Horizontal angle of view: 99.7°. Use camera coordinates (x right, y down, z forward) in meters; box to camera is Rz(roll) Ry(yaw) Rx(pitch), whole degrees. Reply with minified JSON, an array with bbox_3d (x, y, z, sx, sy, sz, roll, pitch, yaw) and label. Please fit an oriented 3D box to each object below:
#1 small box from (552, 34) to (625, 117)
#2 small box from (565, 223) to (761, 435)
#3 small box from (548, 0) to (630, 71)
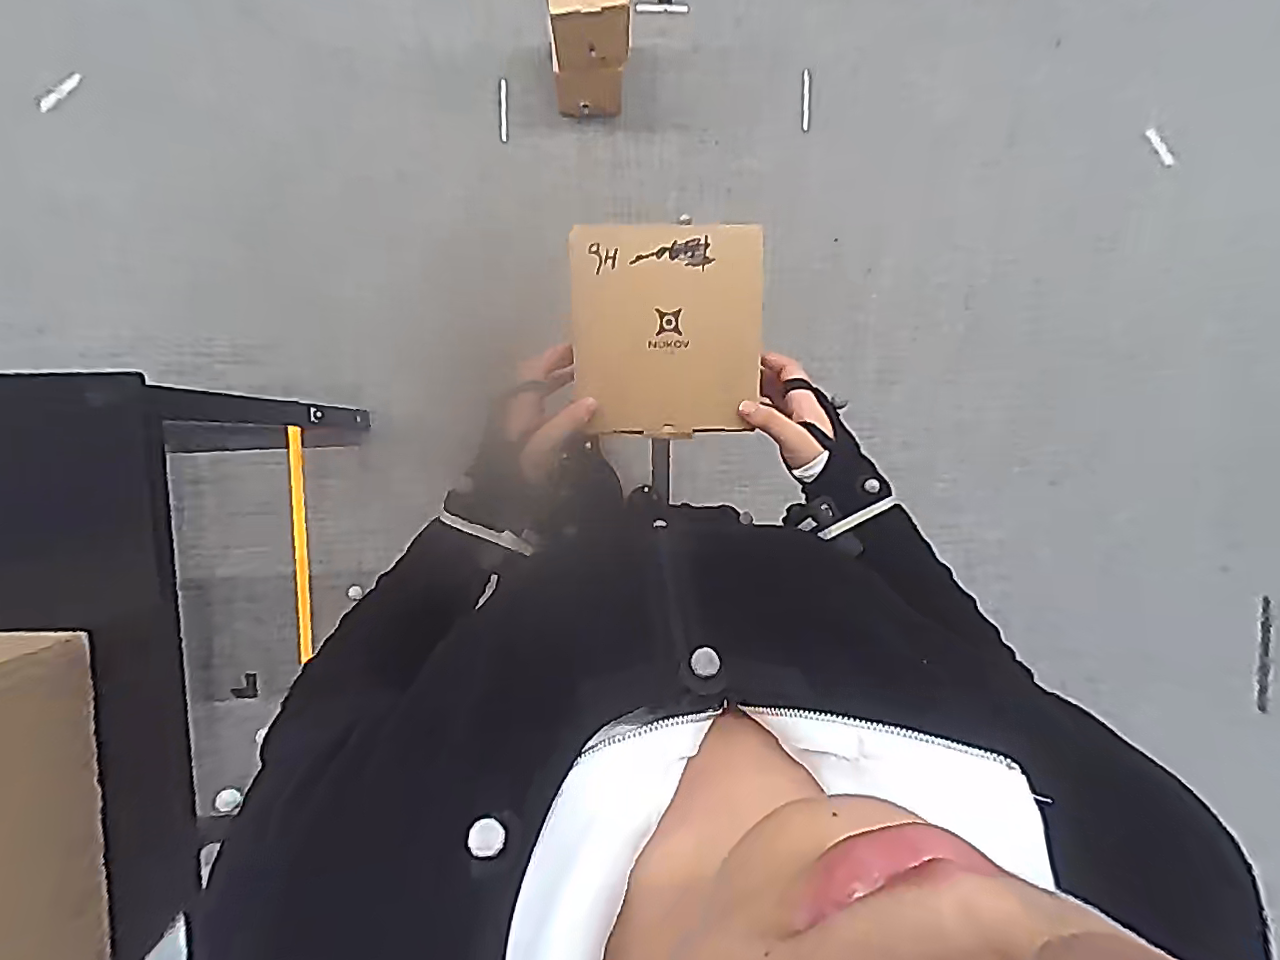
[{"bbox_3d":[-0.126,-1.032,1.328,0.168,0.176,0.179,-4,95,-2],"label":"small box"},{"bbox_3d":[0.017,-0.146,0.543,0.168,0.176,0.179,-2,103,-3],"label":"small box"},{"bbox_3d":[-0.116,-1.034,1.162,0.168,0.176,0.179,-9,94,-1],"label":"small box"}]
